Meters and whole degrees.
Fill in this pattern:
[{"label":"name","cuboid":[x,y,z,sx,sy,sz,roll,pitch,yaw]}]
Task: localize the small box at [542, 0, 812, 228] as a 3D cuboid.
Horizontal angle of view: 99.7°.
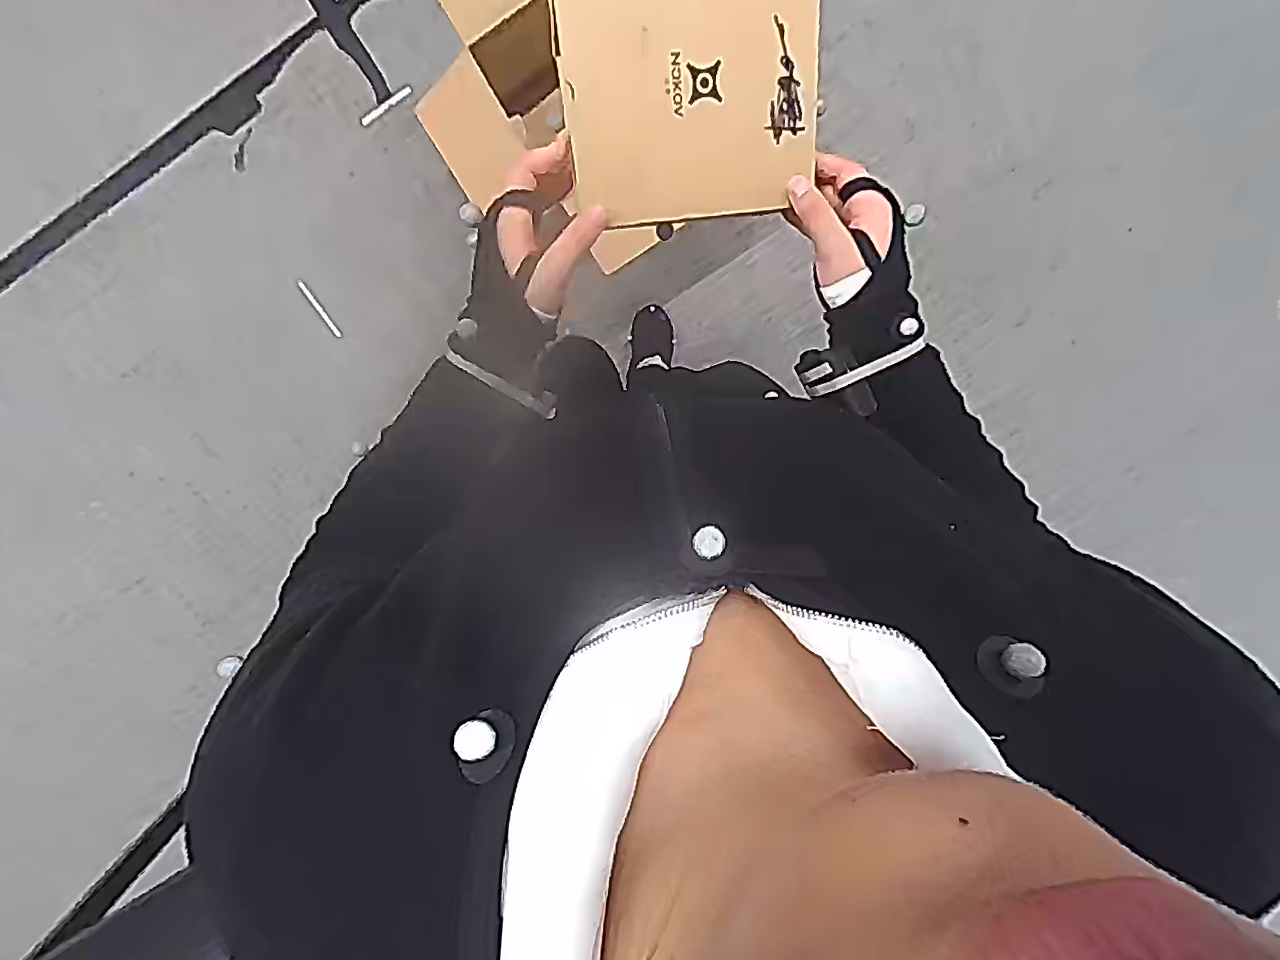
[{"label":"small box","cuboid":[0.024,-0.303,0.435,0.179,0.176,0.168,-7,114,-1]}]
